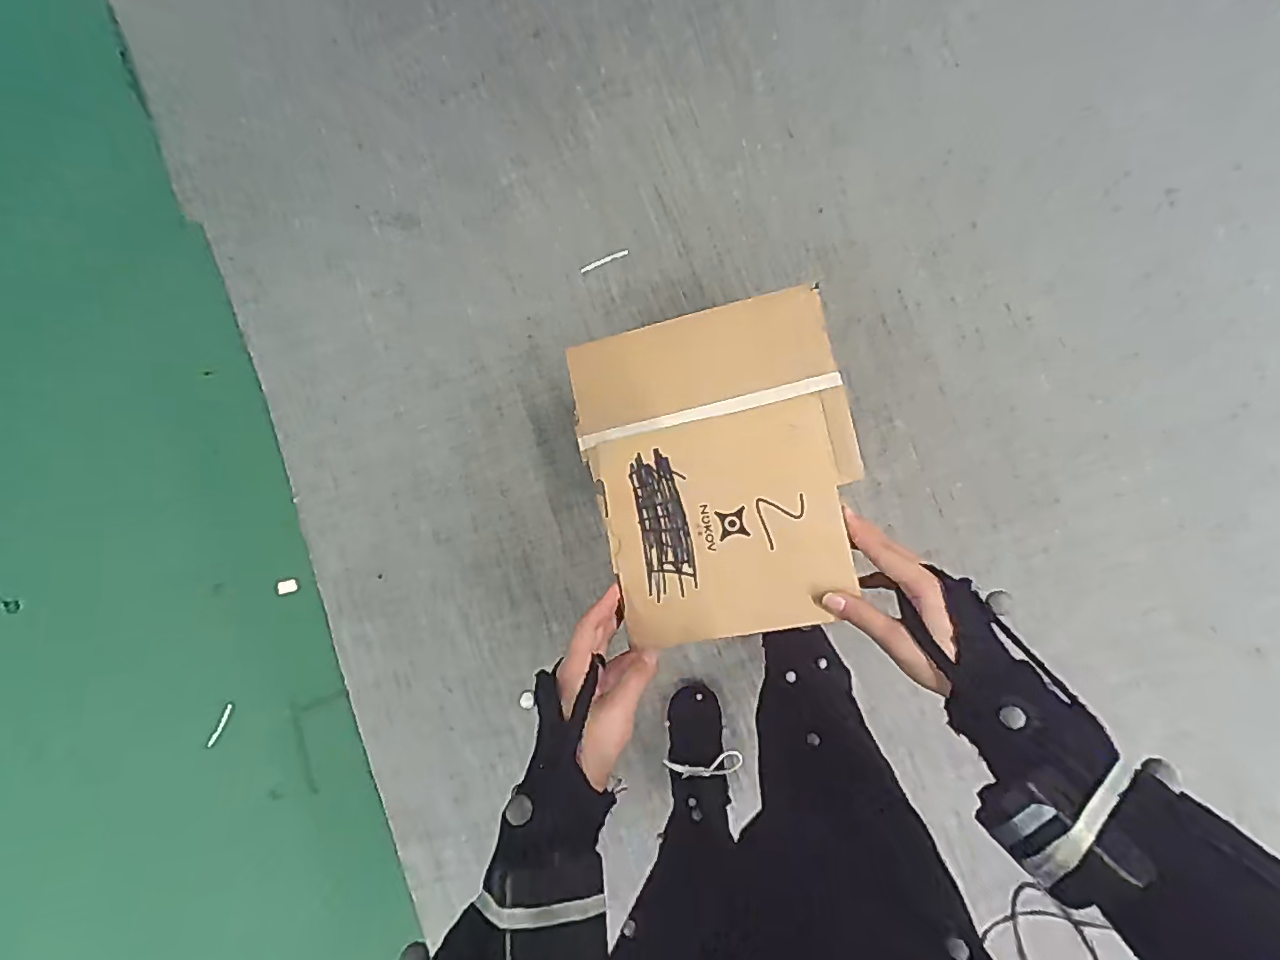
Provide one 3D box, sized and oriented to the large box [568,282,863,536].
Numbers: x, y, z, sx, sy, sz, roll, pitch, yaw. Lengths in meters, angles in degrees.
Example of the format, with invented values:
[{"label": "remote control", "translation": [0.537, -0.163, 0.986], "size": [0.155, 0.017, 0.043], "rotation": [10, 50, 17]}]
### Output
[{"label": "large box", "translation": [0.126, -0.101, 0.982], "size": [0.408, 0.320, 0.320], "rotation": [-14, 87, 7]}]
